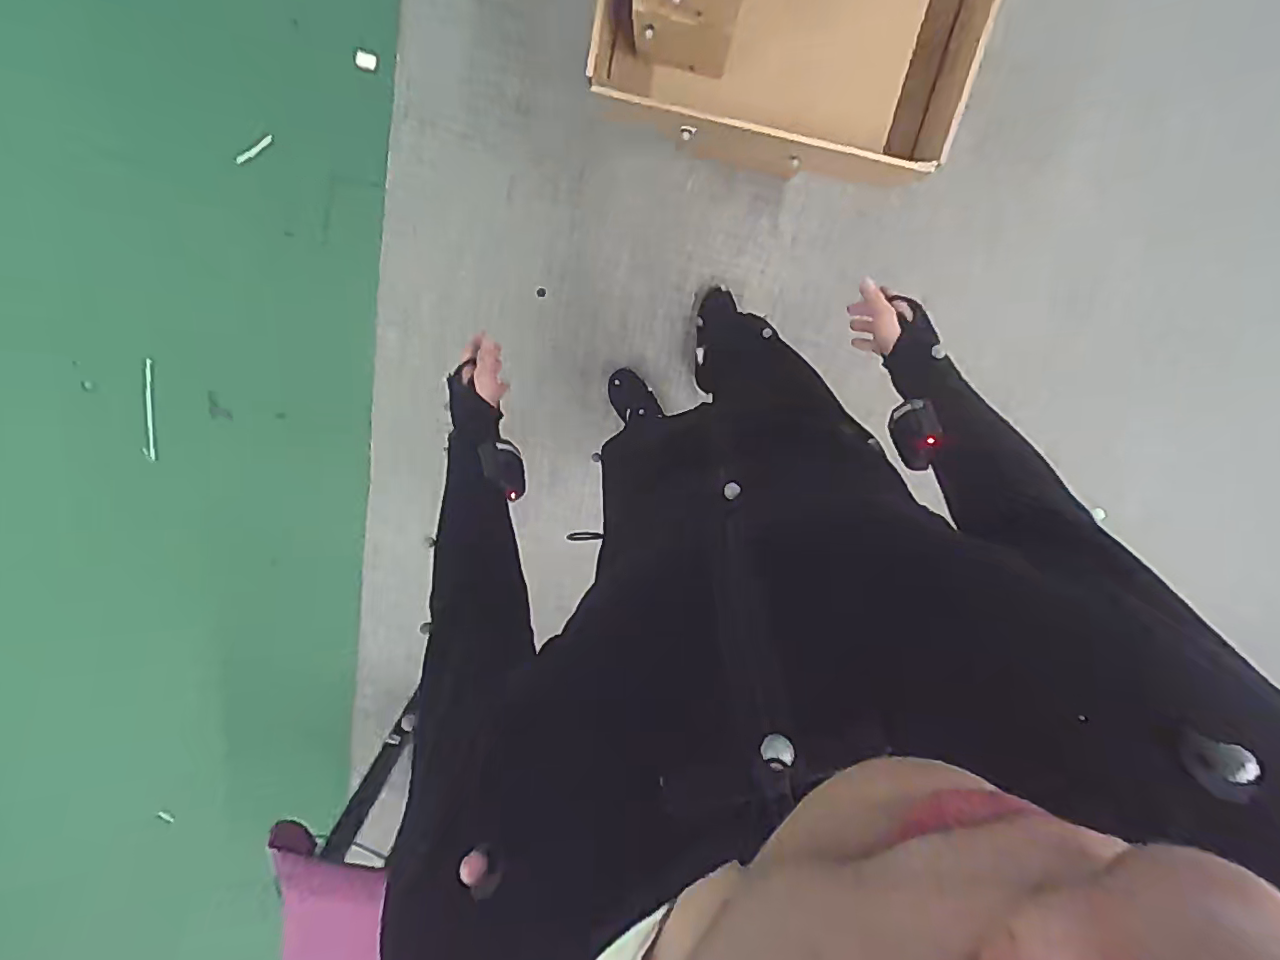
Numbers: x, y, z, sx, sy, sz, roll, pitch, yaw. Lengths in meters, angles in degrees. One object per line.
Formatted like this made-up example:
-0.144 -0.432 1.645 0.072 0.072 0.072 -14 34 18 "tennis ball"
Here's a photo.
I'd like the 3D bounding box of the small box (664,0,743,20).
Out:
0.090 -0.776 0.720 0.168 0.176 0.179 14 106 -3 "small box"
